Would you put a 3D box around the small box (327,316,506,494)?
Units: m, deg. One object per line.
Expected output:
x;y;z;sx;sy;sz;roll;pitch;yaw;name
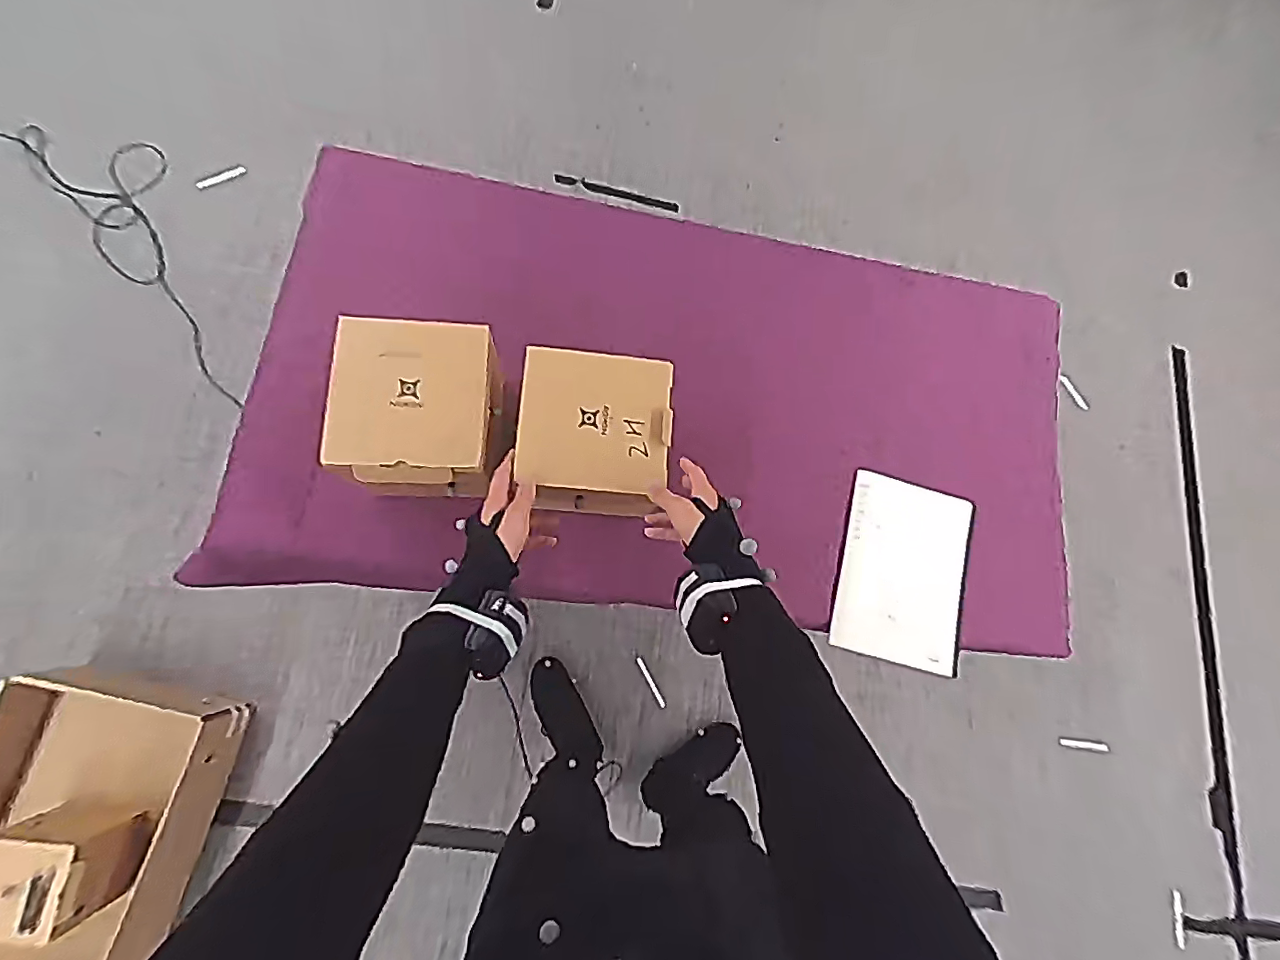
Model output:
-0.262;-0.080;0.678;0.168;0.176;0.179;2;77;-8;small box
